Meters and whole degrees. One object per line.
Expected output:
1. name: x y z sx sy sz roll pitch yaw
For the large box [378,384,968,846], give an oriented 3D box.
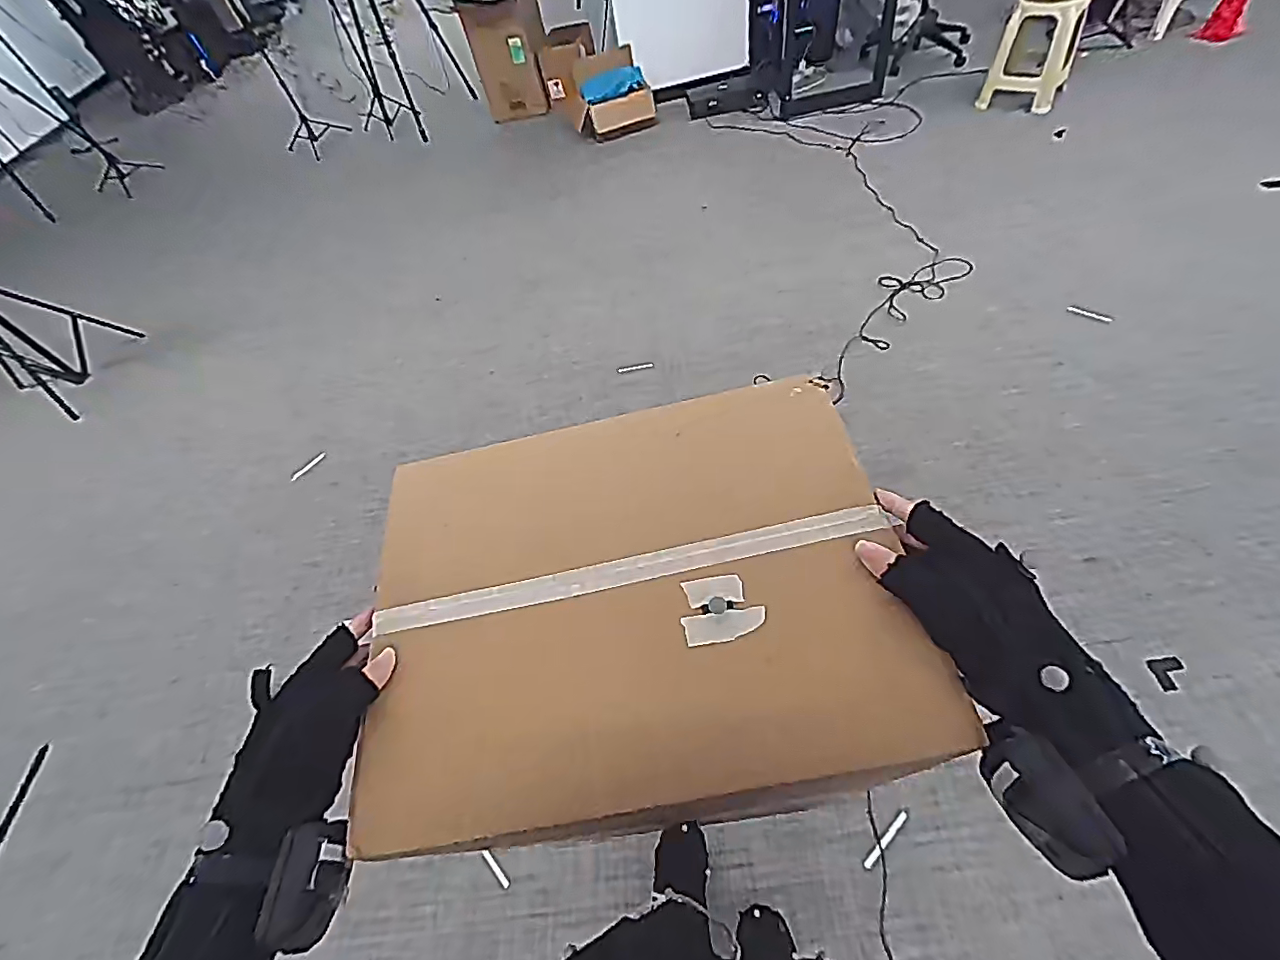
1. large box: 0.018 0.156 0.556 0.408 0.320 0.320 -12 56 3
